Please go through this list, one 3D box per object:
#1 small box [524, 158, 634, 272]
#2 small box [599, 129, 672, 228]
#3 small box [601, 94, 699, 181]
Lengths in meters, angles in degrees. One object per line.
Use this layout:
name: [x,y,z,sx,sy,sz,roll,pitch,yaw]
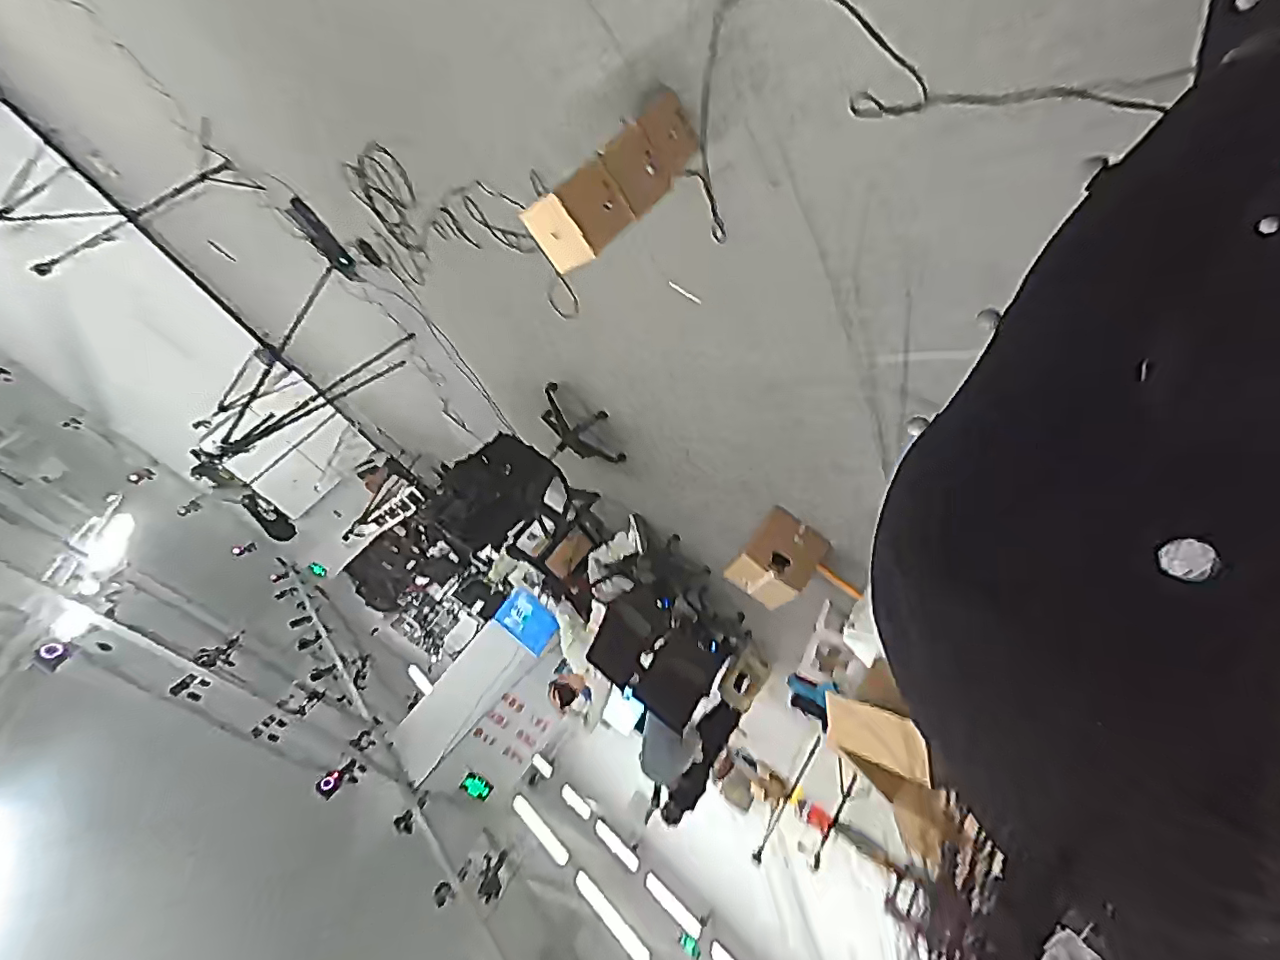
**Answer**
small box: [-0.146,-0.651,1.338,0.179,0.176,0.168,6,140,53]
small box: [-0.050,-0.763,1.405,0.179,0.176,0.168,7,142,52]
small box: [0.035,-0.893,1.461,0.168,0.176,0.179,51,156,-25]
